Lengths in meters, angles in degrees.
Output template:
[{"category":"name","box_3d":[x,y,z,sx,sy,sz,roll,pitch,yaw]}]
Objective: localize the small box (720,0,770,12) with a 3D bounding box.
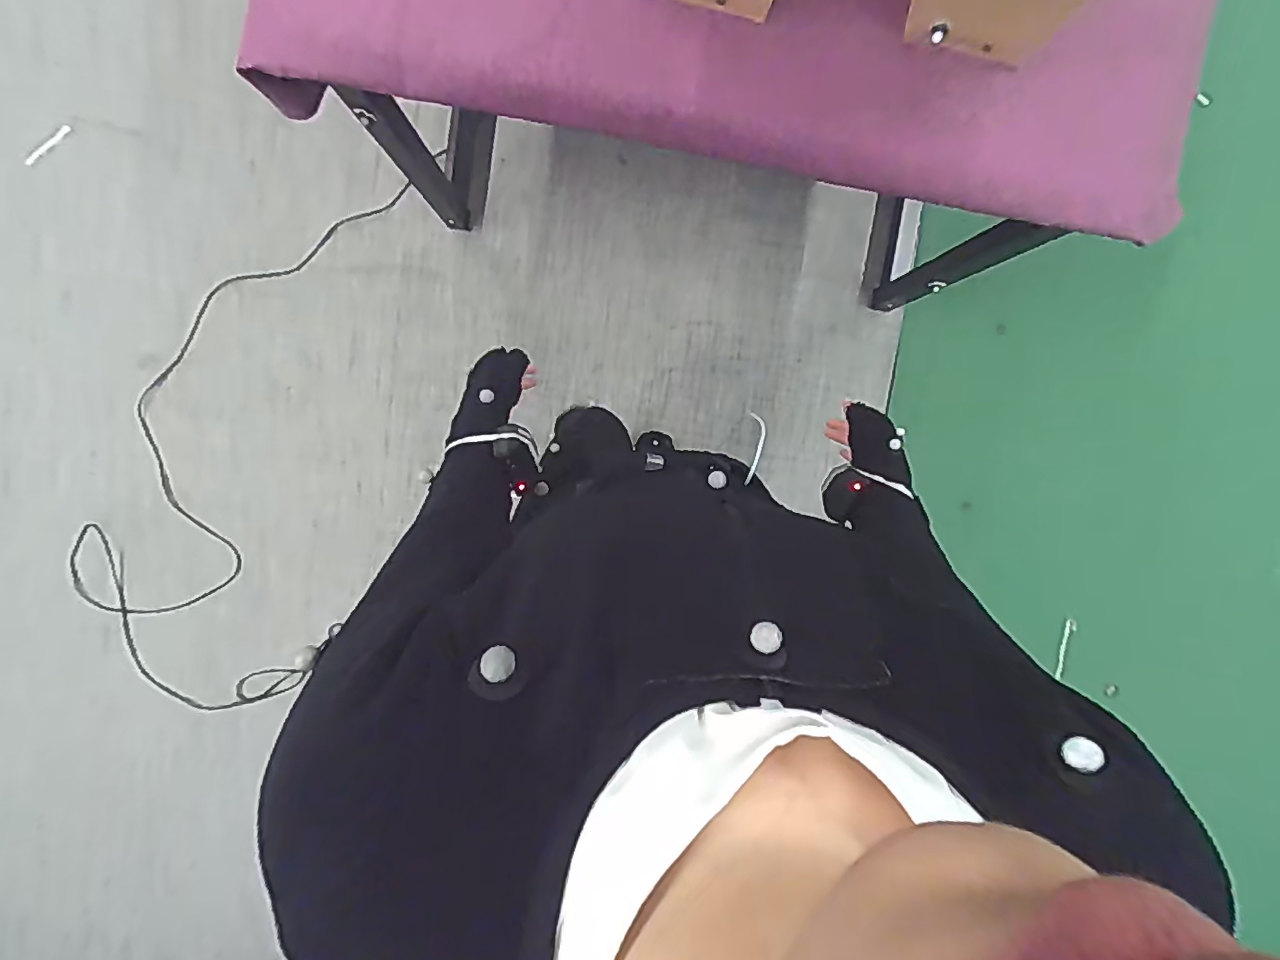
[{"category":"small box","box_3d":[0.103,-0.683,0.600,0.168,0.176,0.179,12,95,-4]}]

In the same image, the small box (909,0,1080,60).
[{"category":"small box","box_3d":[0.441,-0.638,0.619,0.168,0.176,0.179,13,95,-6]}]
